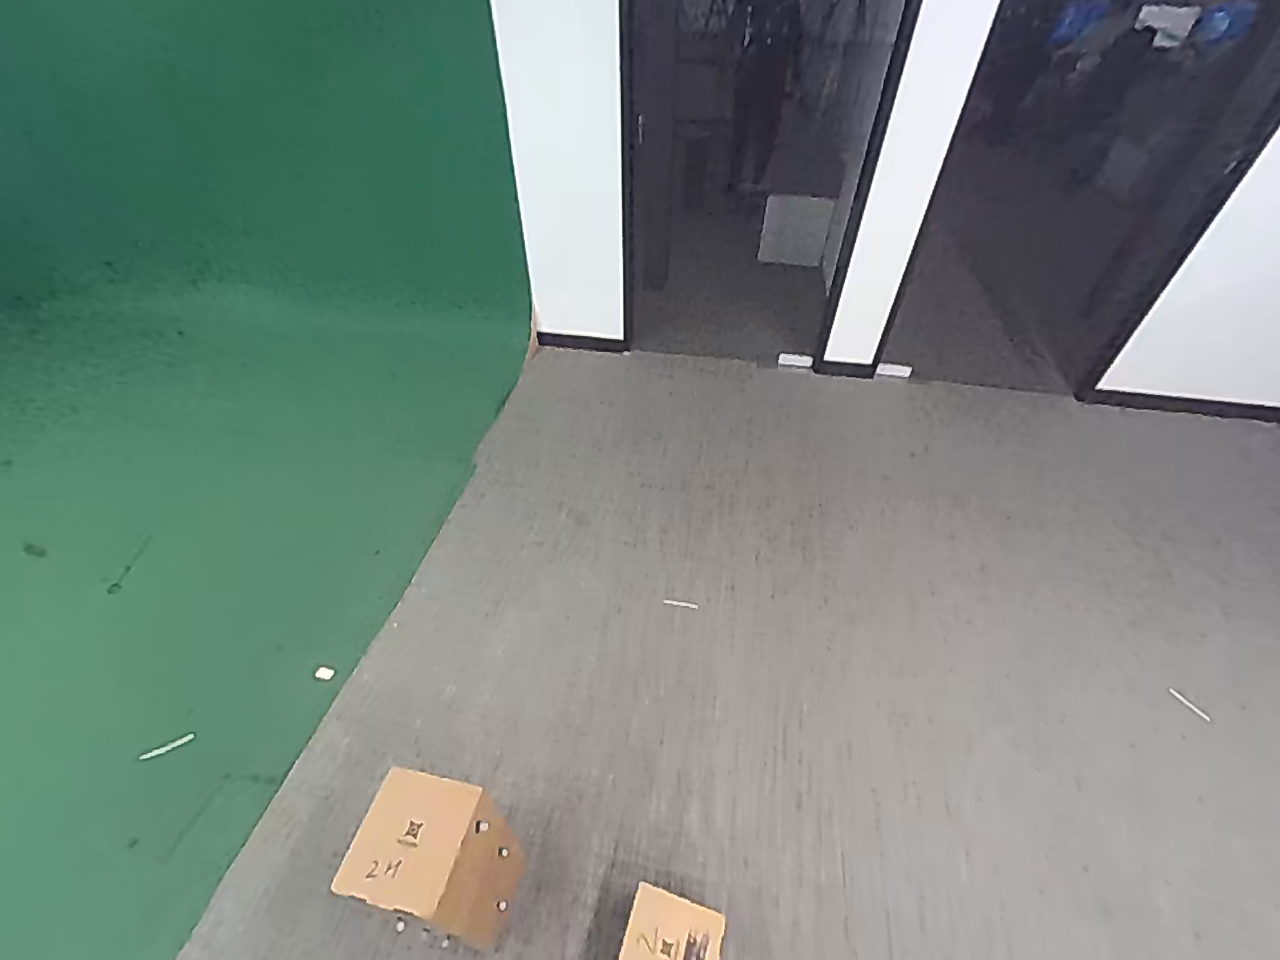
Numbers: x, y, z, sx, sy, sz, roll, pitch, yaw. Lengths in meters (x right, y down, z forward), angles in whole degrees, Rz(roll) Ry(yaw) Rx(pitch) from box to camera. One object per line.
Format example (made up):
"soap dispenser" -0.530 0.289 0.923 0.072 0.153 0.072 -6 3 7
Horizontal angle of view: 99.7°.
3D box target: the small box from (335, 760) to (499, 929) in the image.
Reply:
"small box" -0.344 0.593 0.880 0.168 0.176 0.179 8 45 10

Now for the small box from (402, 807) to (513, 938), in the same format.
"small box" -0.346 0.708 0.998 0.168 0.176 0.179 8 46 9

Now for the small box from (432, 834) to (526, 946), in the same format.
"small box" -0.348 0.823 1.113 0.168 0.176 0.179 11 46 11
